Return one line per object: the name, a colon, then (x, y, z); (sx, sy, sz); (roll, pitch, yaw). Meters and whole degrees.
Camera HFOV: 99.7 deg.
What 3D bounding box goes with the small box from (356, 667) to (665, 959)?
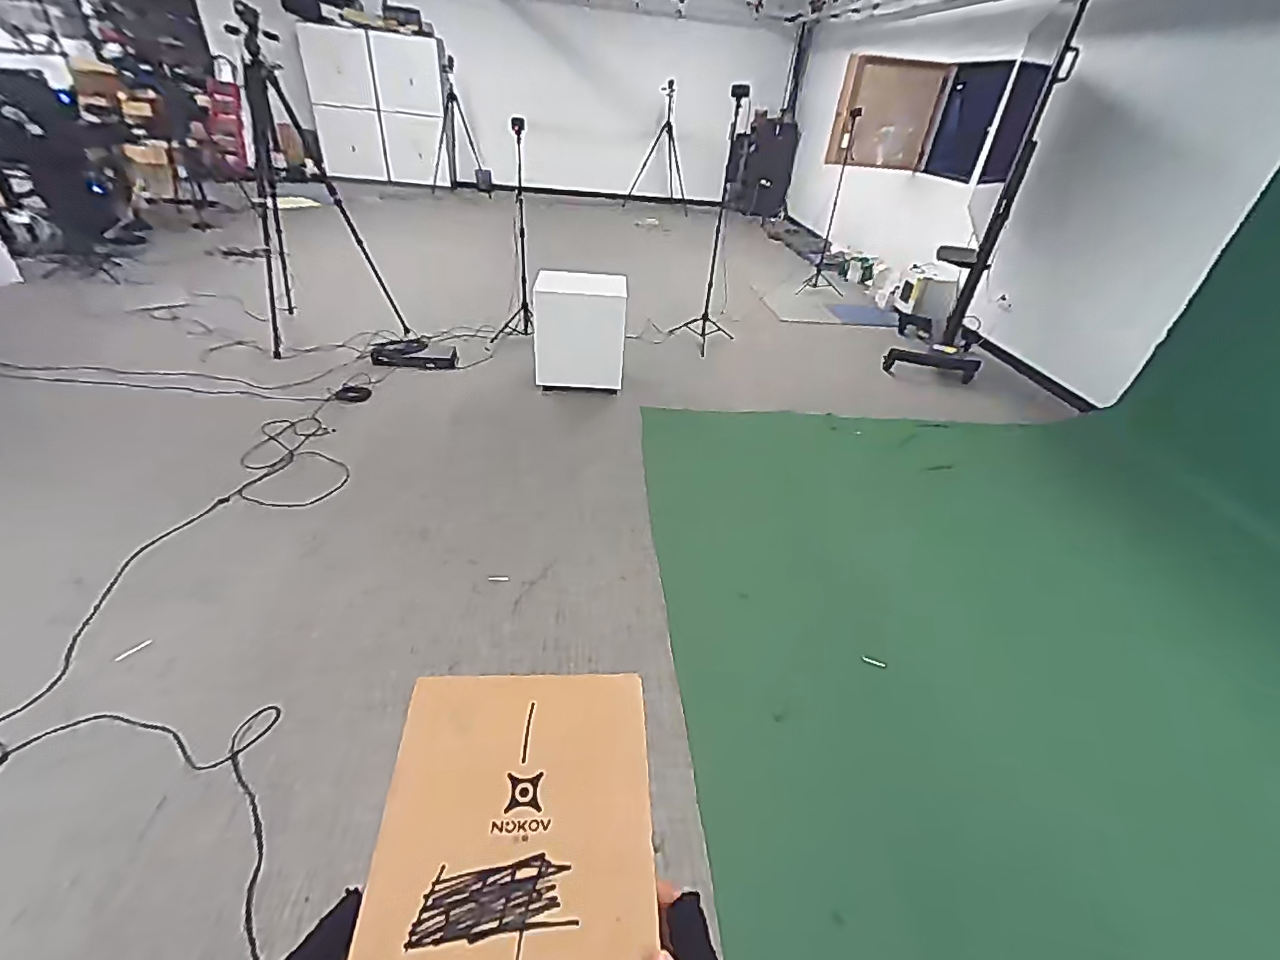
small box: (-0.077, 0.256, 0.393); (0.168, 0.176, 0.179); (2, 43, -7)
